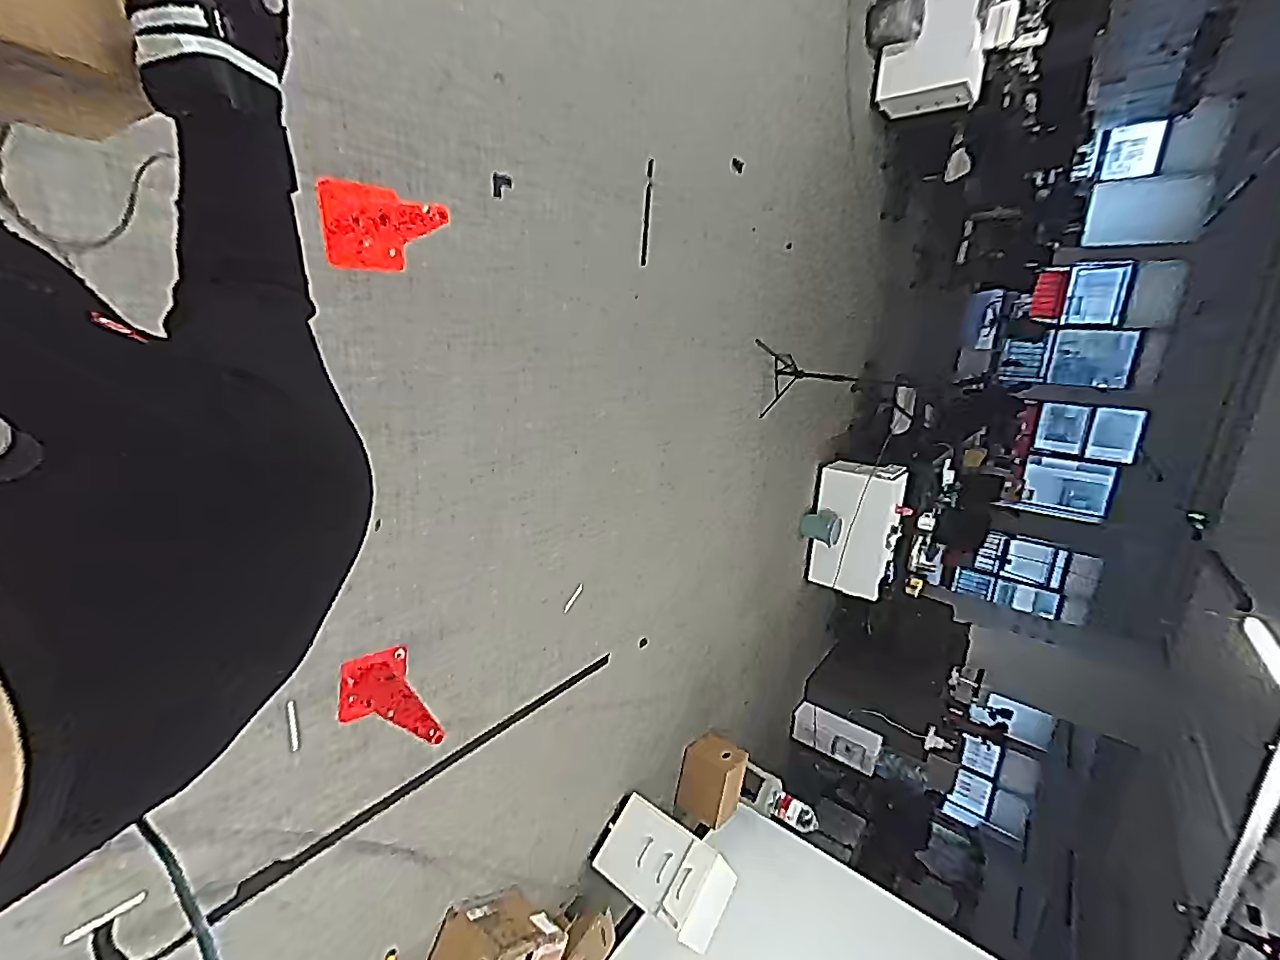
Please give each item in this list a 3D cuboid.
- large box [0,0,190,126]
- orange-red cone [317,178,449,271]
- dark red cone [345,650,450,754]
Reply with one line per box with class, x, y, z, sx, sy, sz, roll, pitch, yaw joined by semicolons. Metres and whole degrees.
large box;-0.547;-0.435;0.276;0.408;0.320;0.320;-15;117;-52
orange-red cone;-0.570;-0.611;1.269;0.198;0.360;0.199;-20;115;-50
dark red cone;-0.662;0.659;1.534;0.201;0.394;0.202;-6;106;-51
